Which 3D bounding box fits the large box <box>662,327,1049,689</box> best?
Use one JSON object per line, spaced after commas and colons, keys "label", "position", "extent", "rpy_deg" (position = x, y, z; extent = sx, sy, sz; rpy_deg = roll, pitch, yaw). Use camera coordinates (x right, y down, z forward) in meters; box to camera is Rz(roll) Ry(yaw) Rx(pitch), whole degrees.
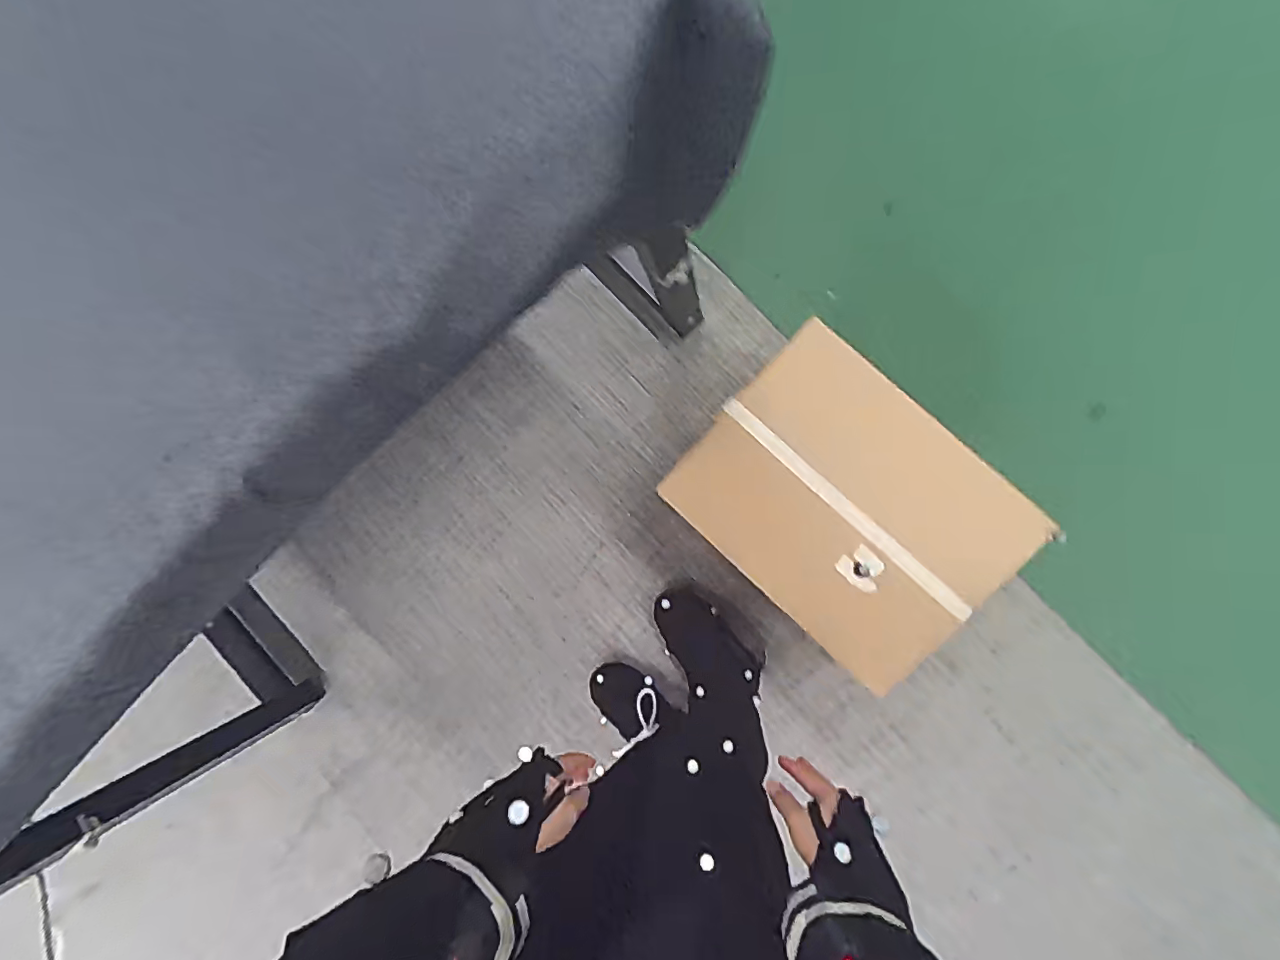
{"label": "large box", "position": [0.291, 0.033, 0.861], "extent": [0.408, 0.320, 0.320], "rpy_deg": [43, 97, 5]}
